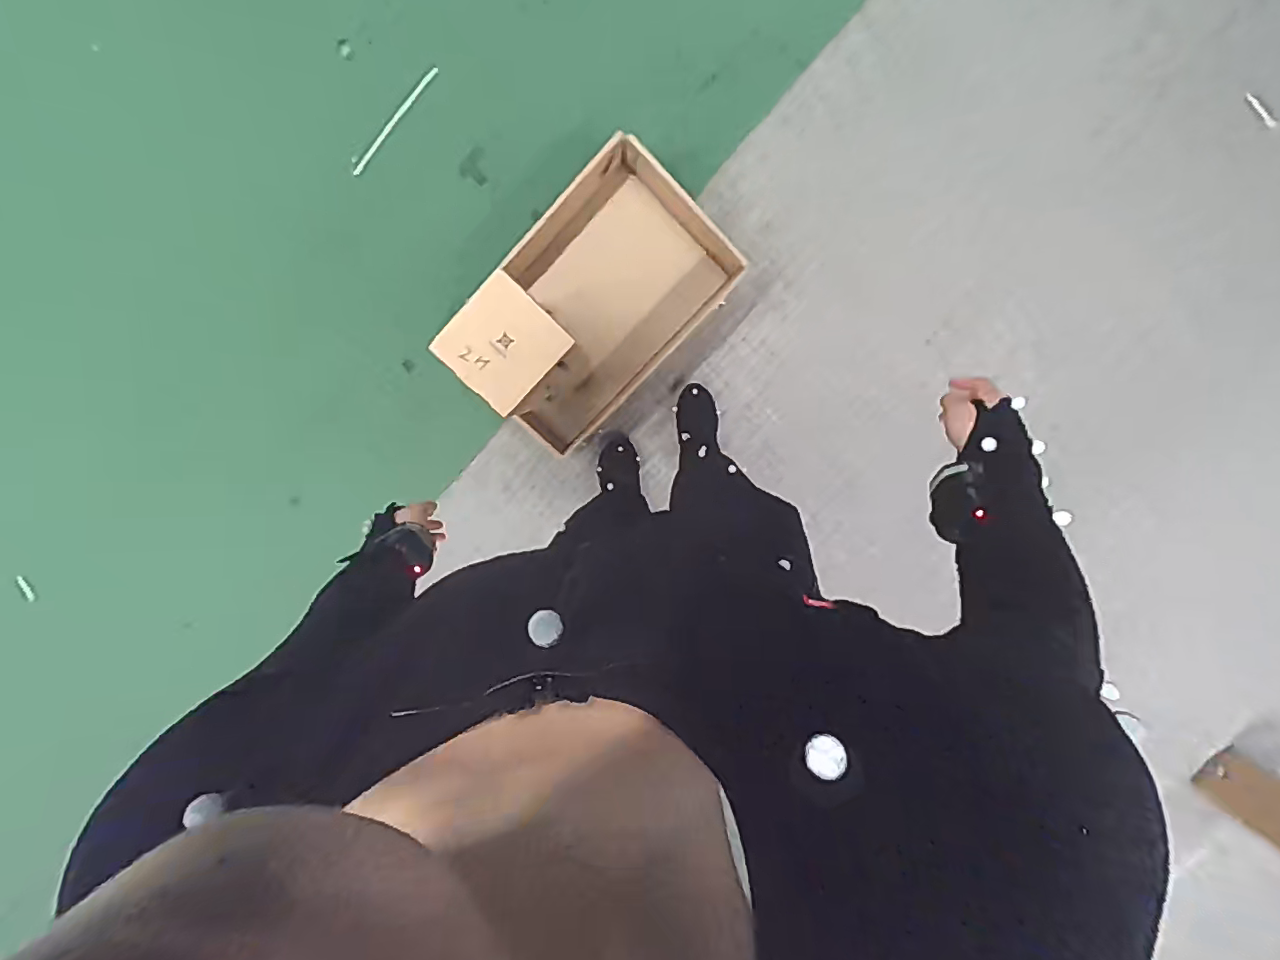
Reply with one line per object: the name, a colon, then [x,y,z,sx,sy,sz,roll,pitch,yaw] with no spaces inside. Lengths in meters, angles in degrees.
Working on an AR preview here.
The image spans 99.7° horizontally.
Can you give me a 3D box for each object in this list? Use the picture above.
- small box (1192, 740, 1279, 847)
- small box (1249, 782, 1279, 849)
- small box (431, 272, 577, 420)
small box: [1.814,0.923,1.603,0.168,0.176,0.179,39,98,-8]
small box: [1.809,0.947,1.442,0.168,0.176,0.179,36,97,-9]
small box: [-0.224,-0.228,0.945,0.168,0.176,0.179,43,97,-9]
